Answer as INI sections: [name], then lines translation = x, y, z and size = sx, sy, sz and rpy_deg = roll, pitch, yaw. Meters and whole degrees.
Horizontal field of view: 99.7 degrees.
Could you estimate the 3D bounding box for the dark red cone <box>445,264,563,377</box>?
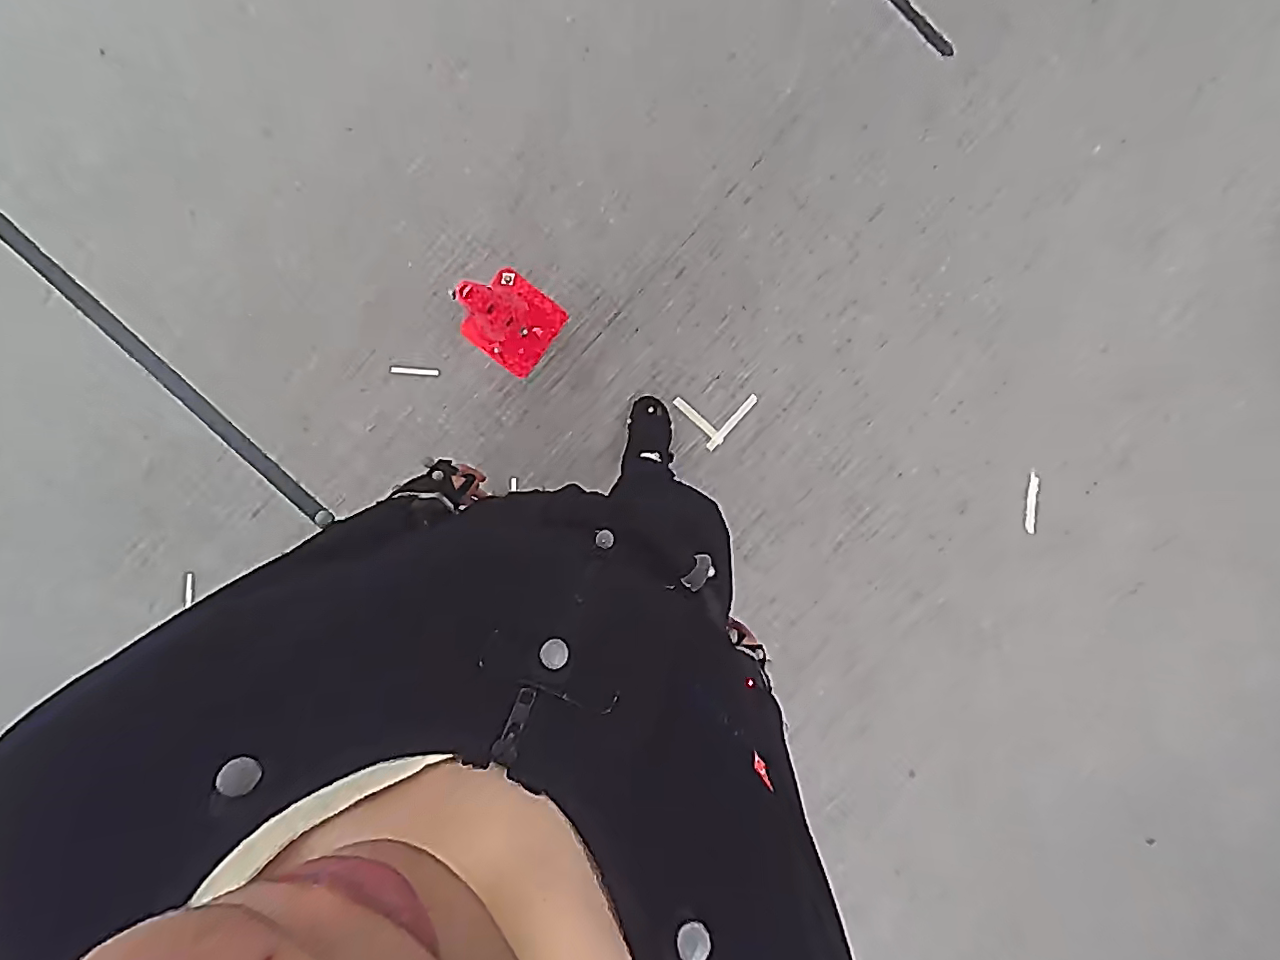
[dark red cone]
translation = -0.308, -0.346, 1.102
size = 0.202, 0.394, 0.201
rpy_deg = 37, 98, -4
